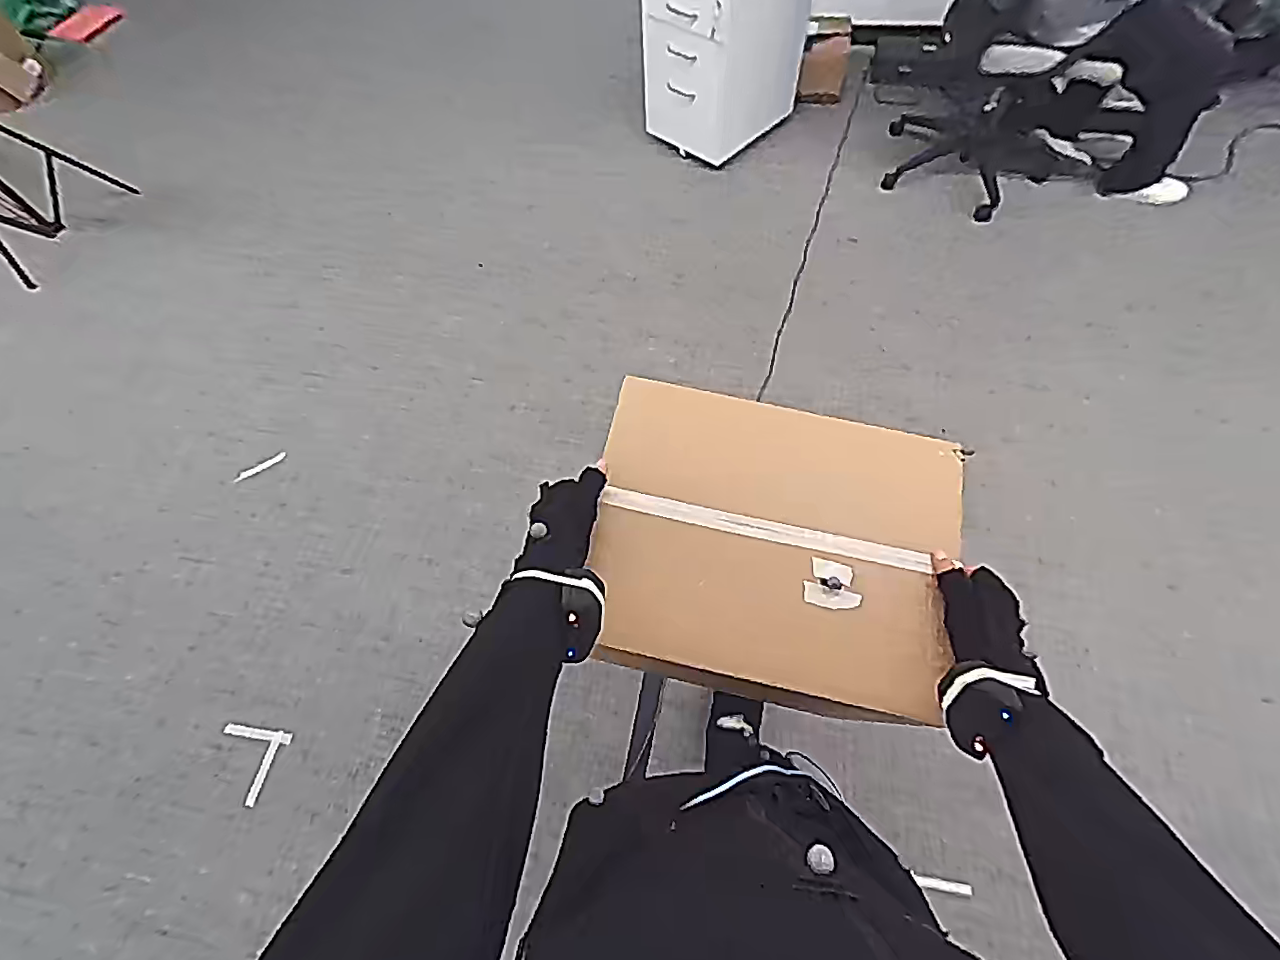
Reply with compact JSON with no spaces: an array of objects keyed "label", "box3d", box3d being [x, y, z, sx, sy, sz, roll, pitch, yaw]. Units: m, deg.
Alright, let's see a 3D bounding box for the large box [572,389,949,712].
[{"label":"large box","box3d":[0.143,0.115,0.749,0.408,0.320,0.320,12,69,3]}]
